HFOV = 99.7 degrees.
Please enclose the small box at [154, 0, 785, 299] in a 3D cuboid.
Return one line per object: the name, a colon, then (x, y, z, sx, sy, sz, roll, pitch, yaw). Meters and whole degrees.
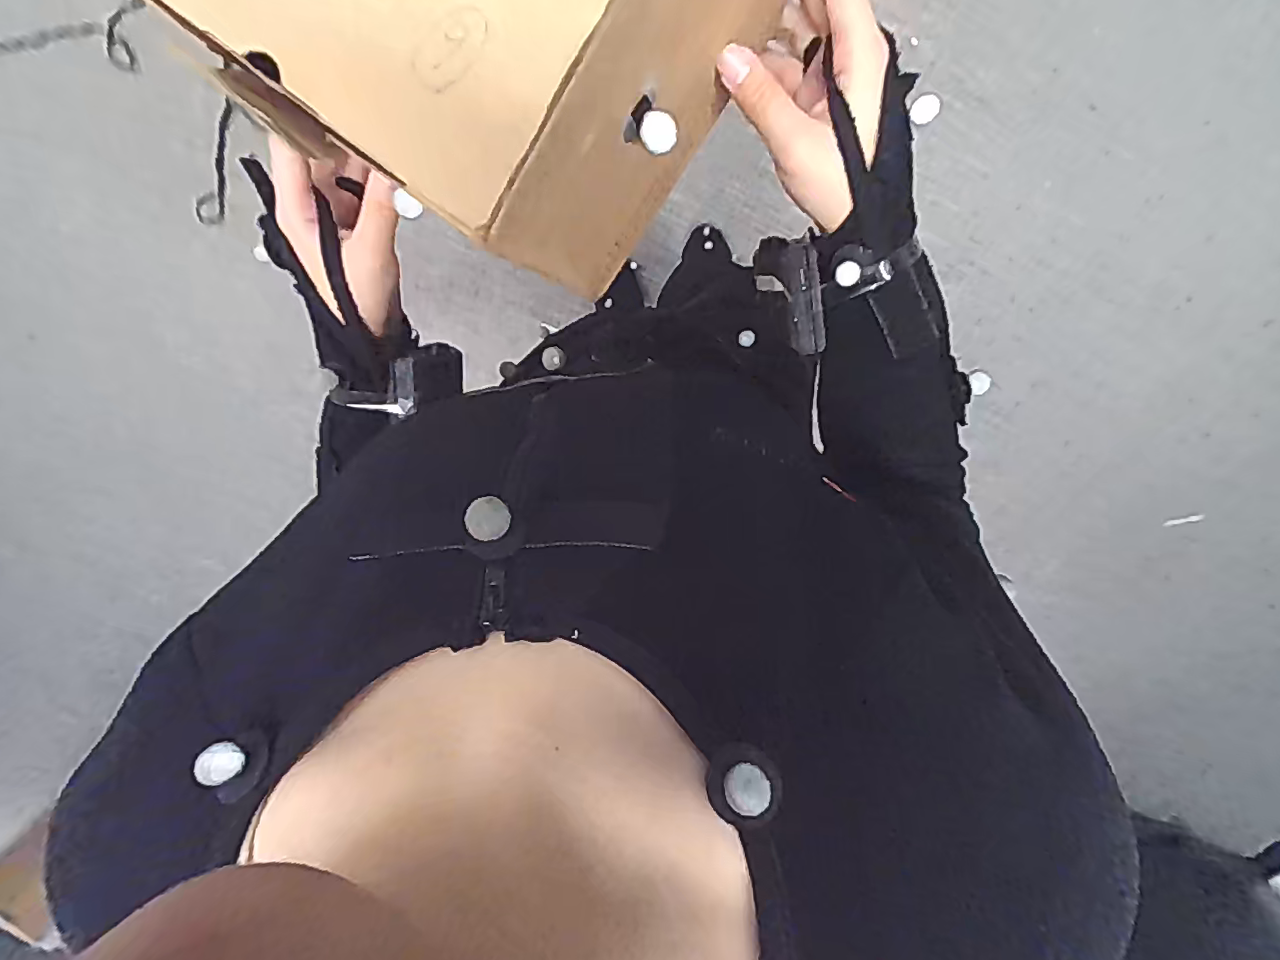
small box: (-0.044, -0.202, 0.237, 0.168, 0.176, 0.179, 36, 104, -1)
